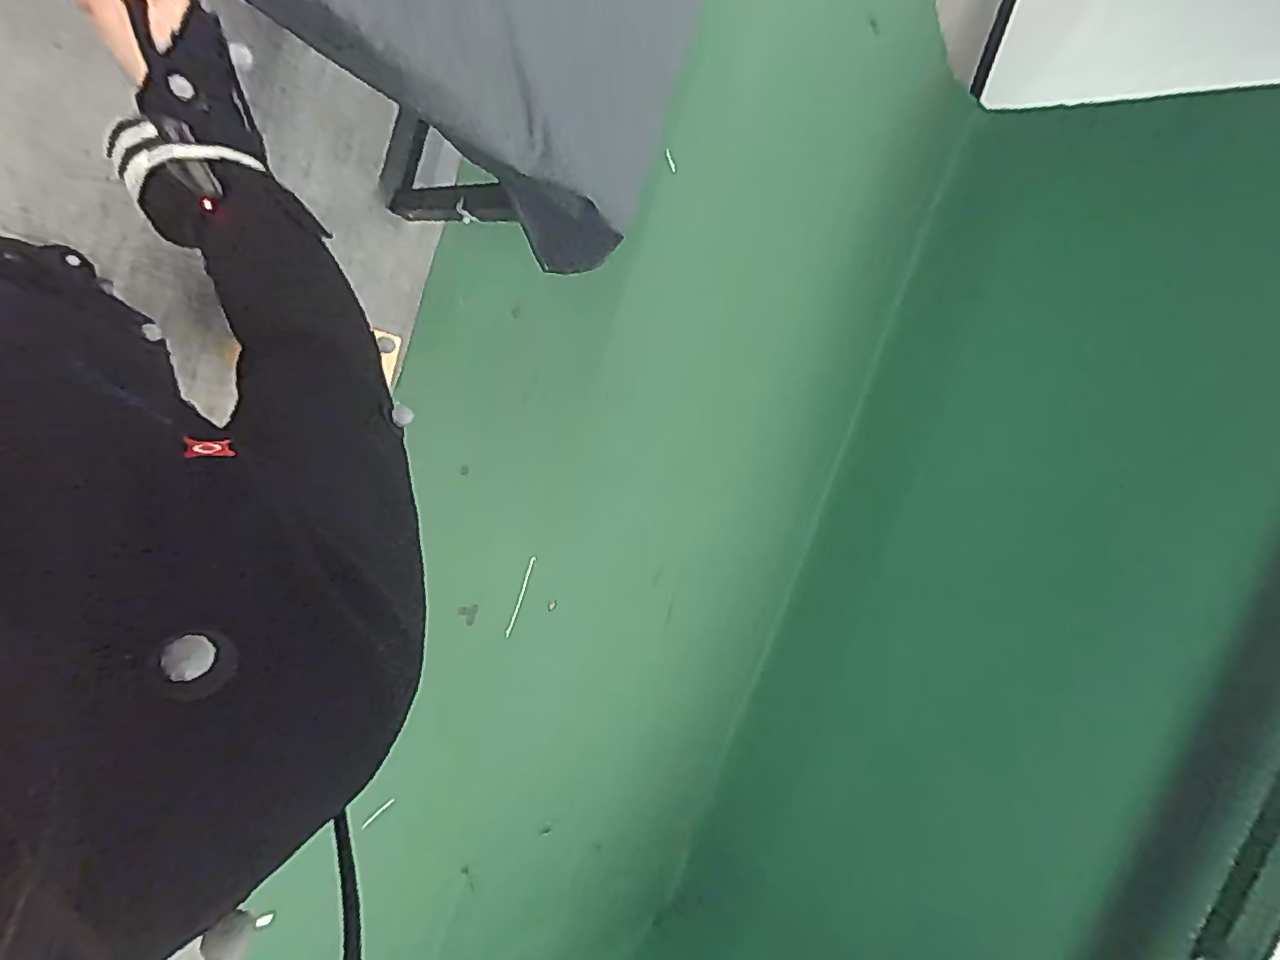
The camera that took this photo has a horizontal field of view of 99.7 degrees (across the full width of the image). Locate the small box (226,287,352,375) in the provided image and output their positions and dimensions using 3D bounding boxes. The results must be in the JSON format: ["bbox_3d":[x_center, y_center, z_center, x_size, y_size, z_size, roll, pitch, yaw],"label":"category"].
[{"bbox_3d":[-0.731,-0.292,1.130,0.179,0.176,0.168,11,98,-52],"label":"small box"}]
